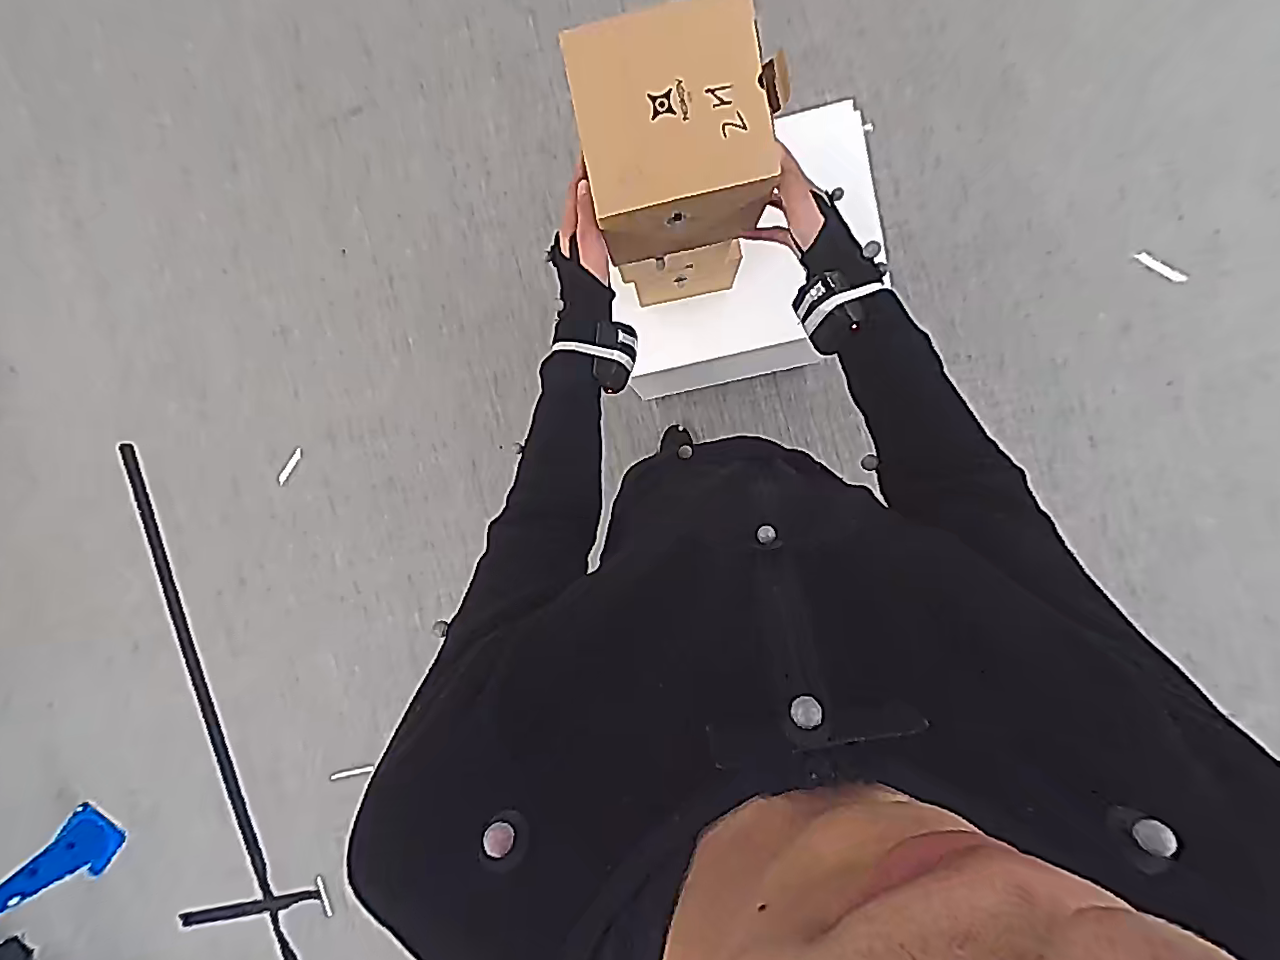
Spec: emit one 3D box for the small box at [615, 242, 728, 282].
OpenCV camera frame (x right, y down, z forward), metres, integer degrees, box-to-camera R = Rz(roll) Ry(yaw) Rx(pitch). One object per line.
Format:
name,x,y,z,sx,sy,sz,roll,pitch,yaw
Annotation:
small box,0.034,-0.396,0.766,0.168,0.176,0.179,-9,92,5

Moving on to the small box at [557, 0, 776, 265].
small box,0.029,-0.344,0.567,0.179,0.176,0.168,-12,96,3

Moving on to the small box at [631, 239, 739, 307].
small box,0.062,-0.410,0.926,0.179,0.176,0.168,-11,93,4
